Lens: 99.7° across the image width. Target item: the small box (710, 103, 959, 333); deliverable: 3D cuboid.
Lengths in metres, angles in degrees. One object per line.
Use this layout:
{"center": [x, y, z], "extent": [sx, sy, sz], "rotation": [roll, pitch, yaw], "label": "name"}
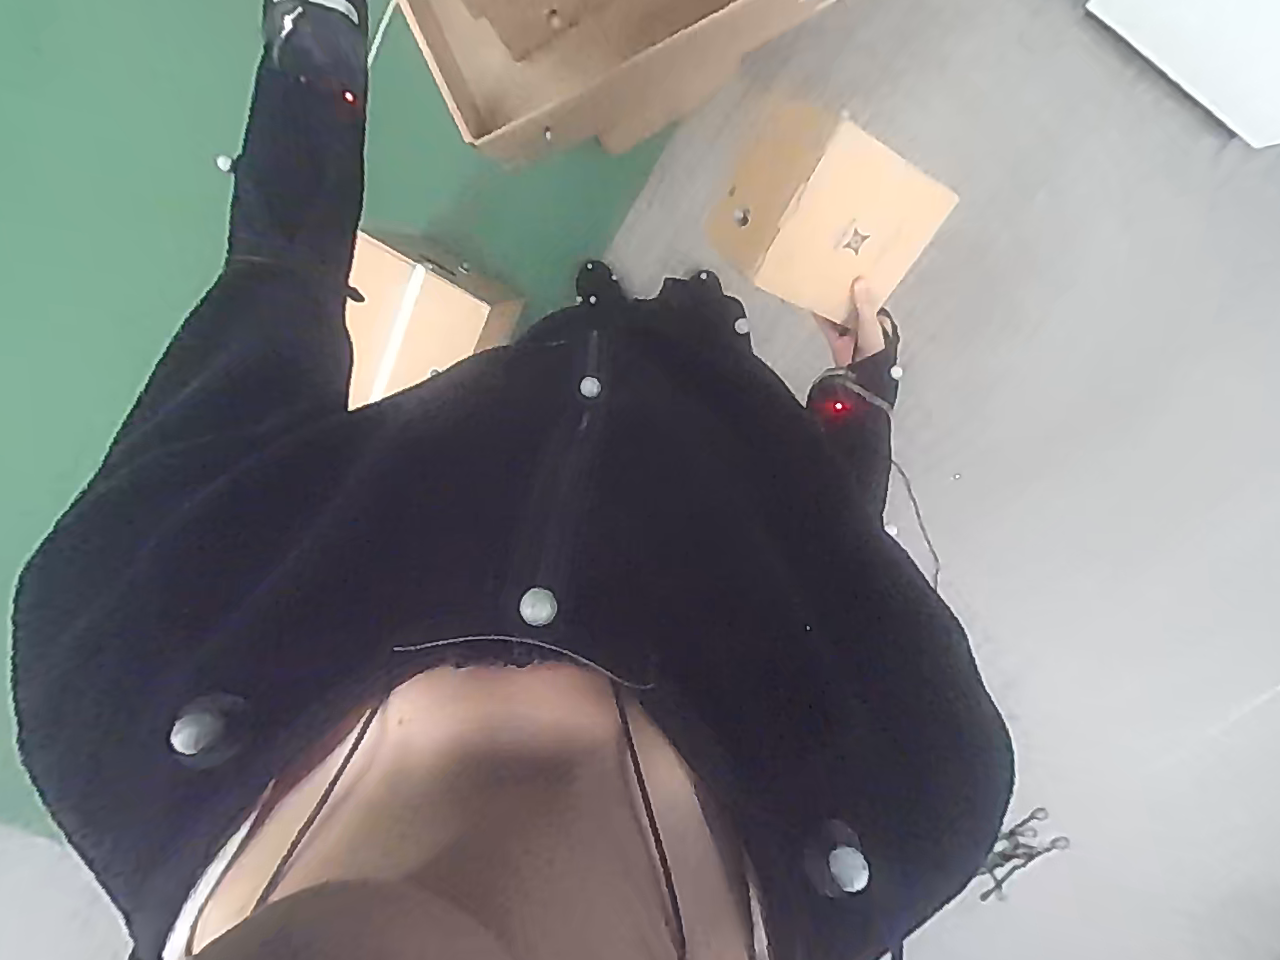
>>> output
{"center": [0.207, -0.304, 0.626], "extent": [0.179, 0.176, 0.168], "rotation": [14, 125, -26], "label": "small box"}
